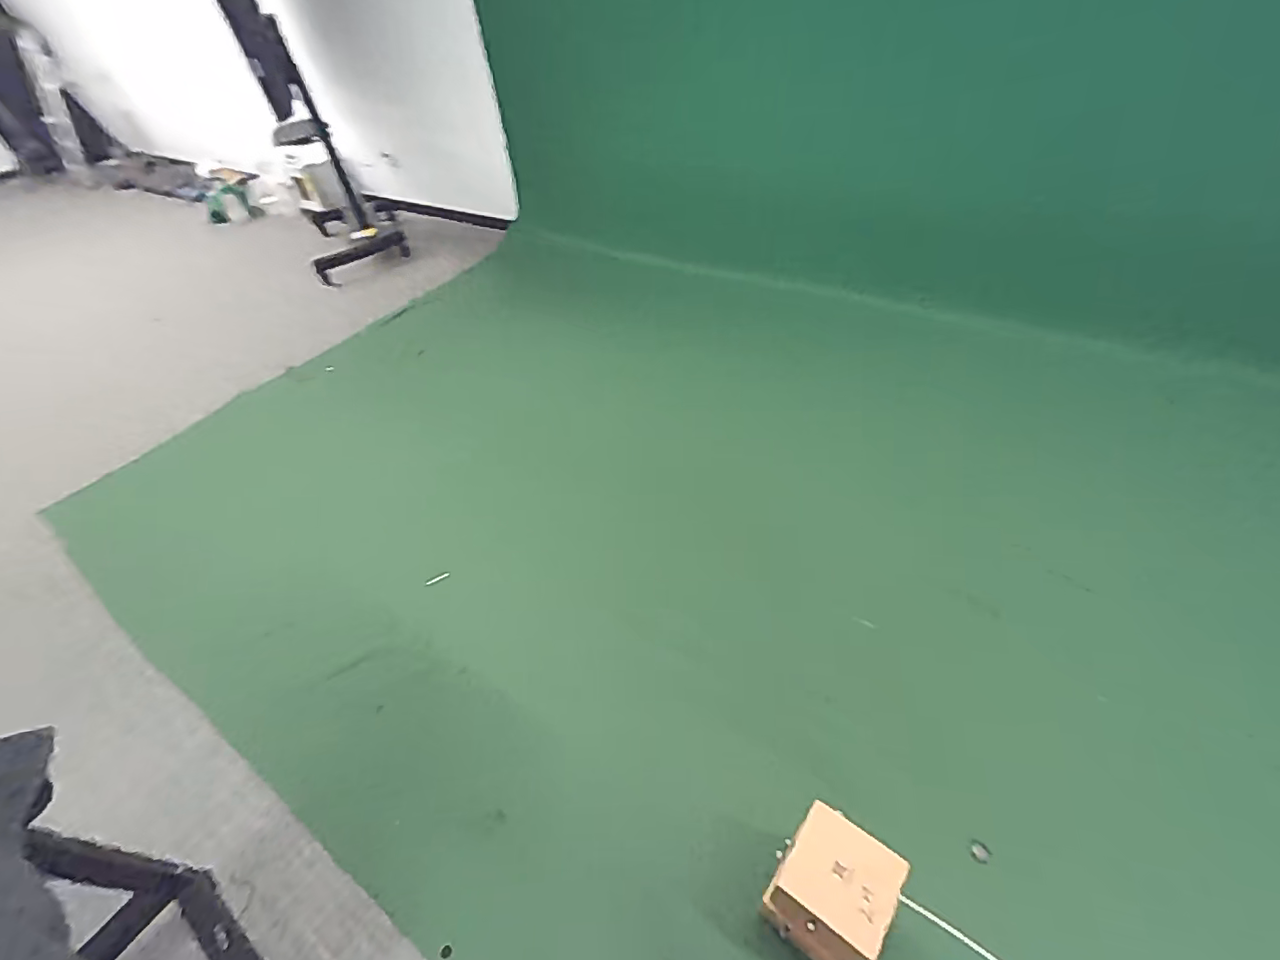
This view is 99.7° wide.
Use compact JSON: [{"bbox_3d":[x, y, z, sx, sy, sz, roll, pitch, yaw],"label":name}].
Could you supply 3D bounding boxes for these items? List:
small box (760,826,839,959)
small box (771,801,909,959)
[{"bbox_3d":[0.358,0.858,1.106,0.168,0.176,0.179,27,54,30],"label":"small box"},{"bbox_3d":[0.356,0.740,0.991,0.179,0.176,0.168,27,54,28],"label":"small box"}]
